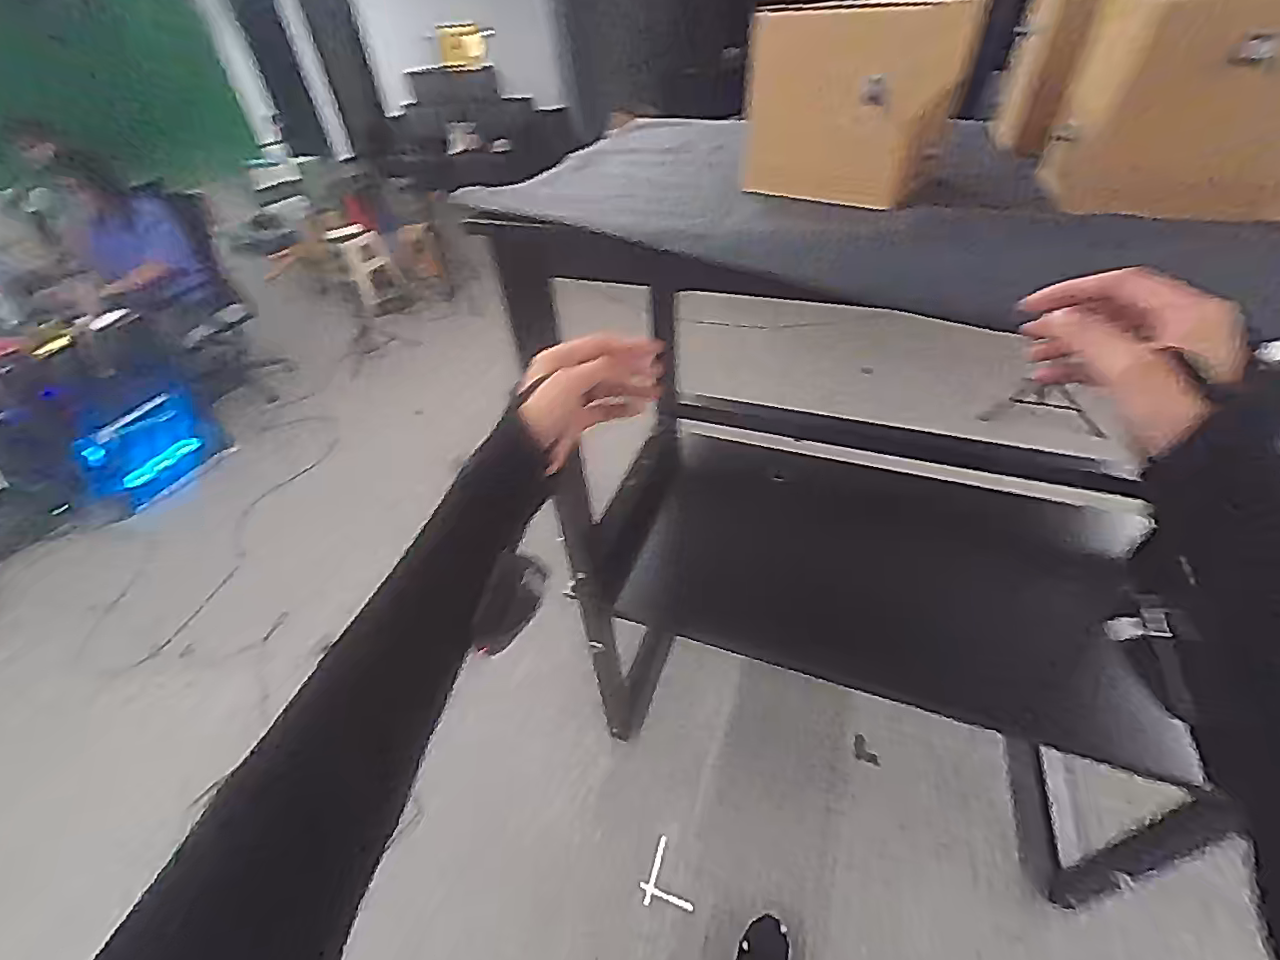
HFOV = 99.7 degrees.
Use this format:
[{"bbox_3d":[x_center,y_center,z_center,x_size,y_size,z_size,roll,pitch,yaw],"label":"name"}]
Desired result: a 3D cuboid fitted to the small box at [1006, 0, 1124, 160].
[{"bbox_3d":[0.589,-0.516,0.684,0.168,0.176,0.179,12,45,19],"label":"small box"}]
